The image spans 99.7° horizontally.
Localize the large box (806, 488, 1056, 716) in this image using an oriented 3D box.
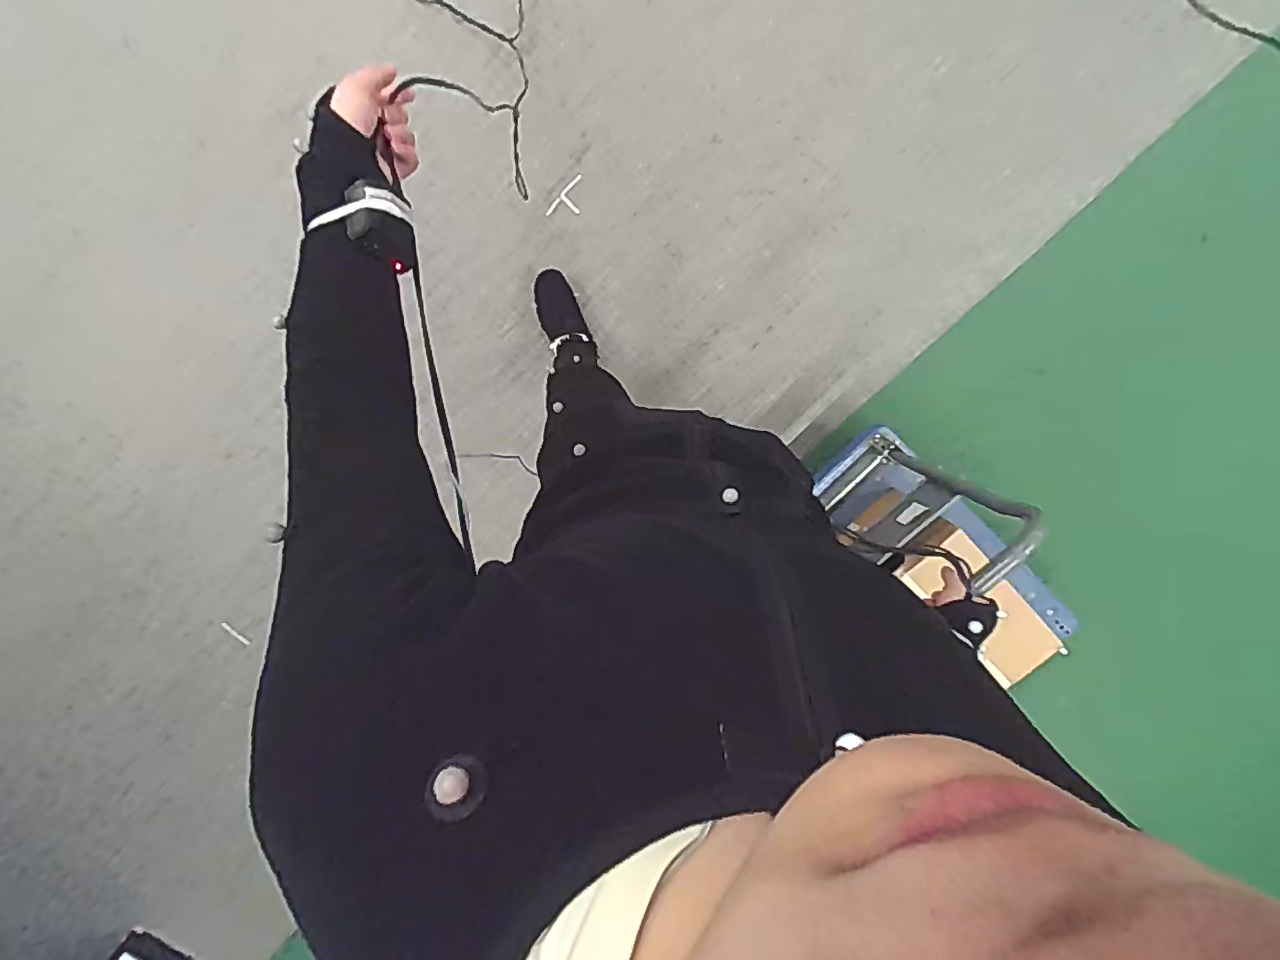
[{"bbox_3d":[0.701,0.289,1.364,0.320,0.320,0.408,-44,102,11],"label":"large box"}]
